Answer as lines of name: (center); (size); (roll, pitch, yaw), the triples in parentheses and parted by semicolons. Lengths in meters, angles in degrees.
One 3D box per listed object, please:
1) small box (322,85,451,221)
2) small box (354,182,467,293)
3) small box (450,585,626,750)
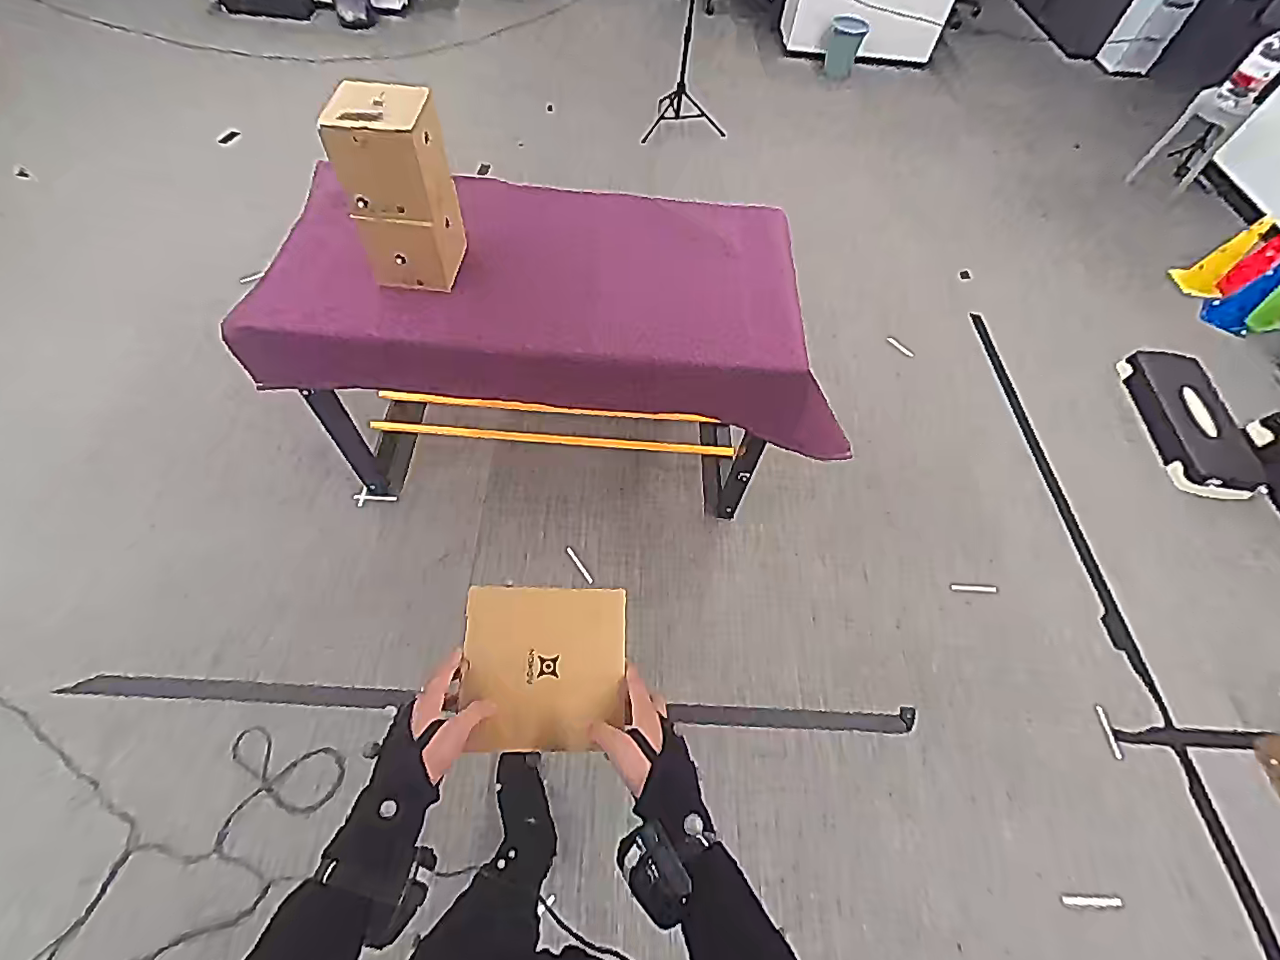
small box: (-0.482, -0.635, 1.060); (0.168, 0.176, 0.179); (3, 57, -4)
small box: (-0.492, -0.539, 1.193); (0.168, 0.176, 0.179); (7, 58, -2)
small box: (-0.111, 0.223, 0.650); (0.179, 0.176, 0.168); (2, 70, -4)
